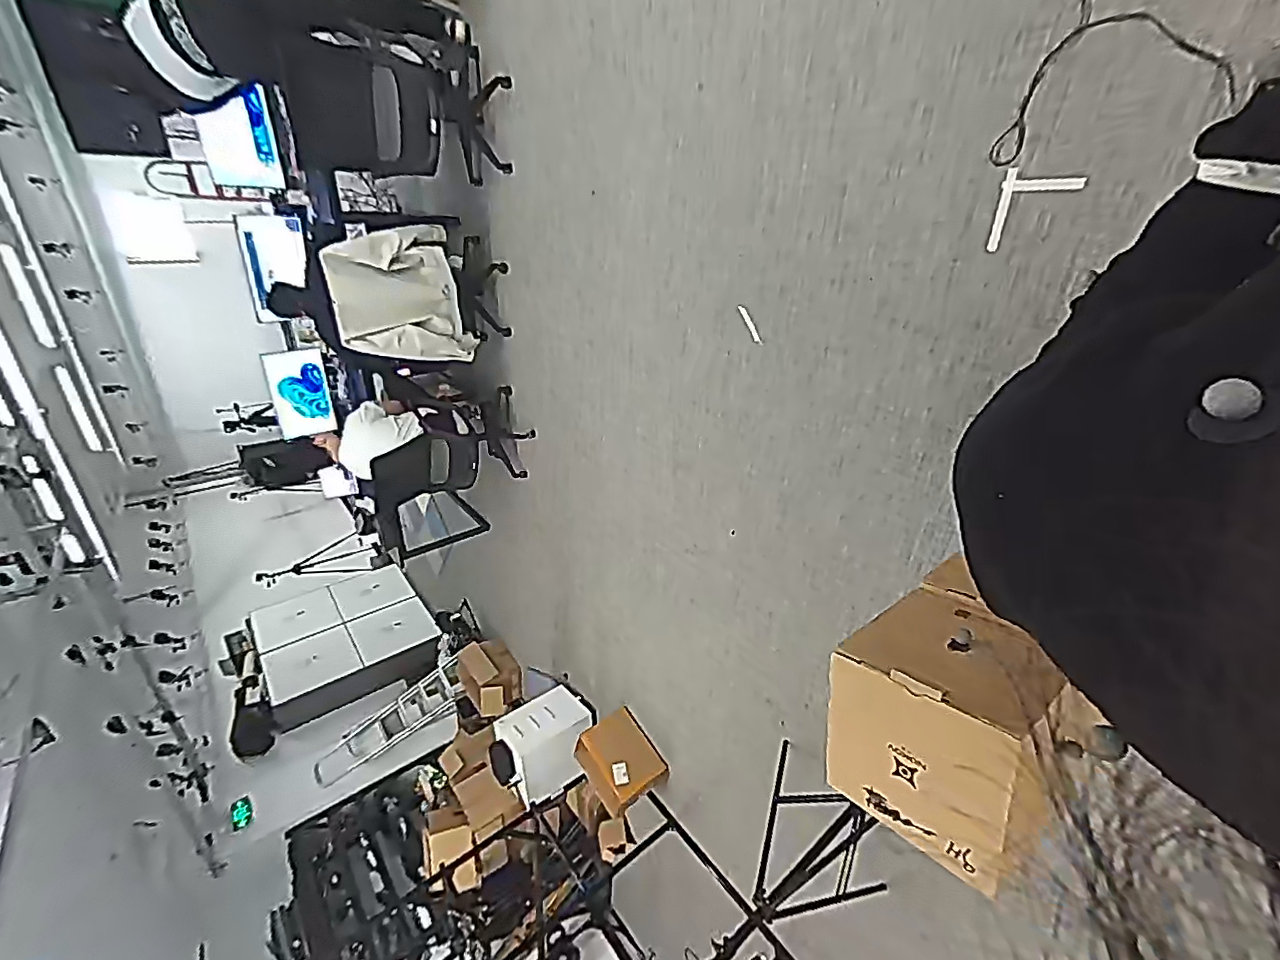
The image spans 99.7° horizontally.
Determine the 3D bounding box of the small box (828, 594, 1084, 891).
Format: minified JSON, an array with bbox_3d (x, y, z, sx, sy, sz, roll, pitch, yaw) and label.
[{"bbox_3d":[0.314,0.239,0.546,0.168,0.176,0.179,18,118,50],"label":"small box"}]
